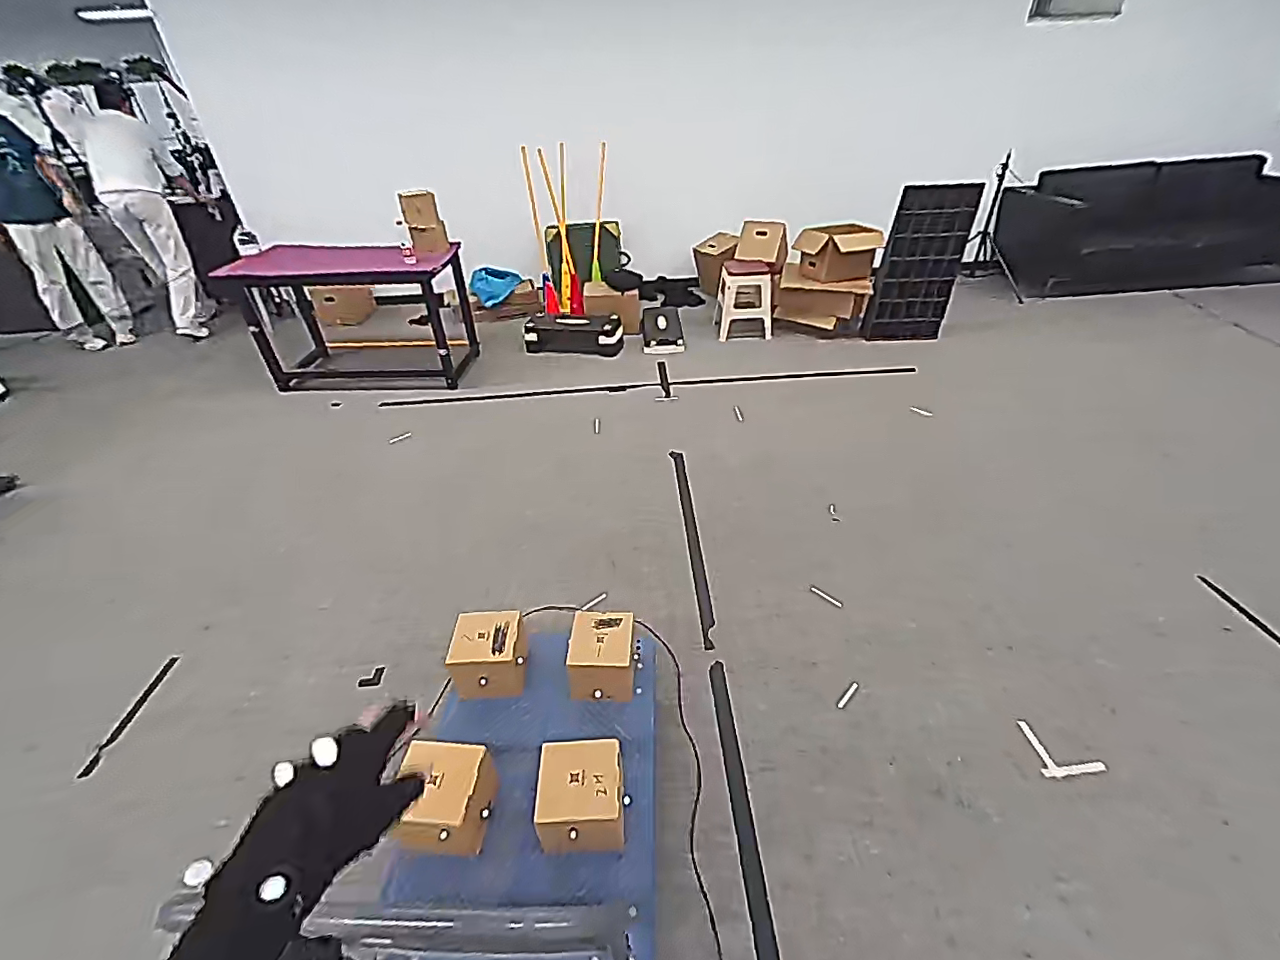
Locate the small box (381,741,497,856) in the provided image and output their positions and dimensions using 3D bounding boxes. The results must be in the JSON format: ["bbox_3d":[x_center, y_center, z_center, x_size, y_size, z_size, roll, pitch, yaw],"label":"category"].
[{"bbox_3d":[-0.436,0.709,1.205,0.179,0.176,0.168,3,36,4],"label":"small box"}]

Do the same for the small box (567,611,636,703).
[{"bbox_3d":[-0.099,0.487,1.490,0.168,0.176,0.179,1,37,4],"label":"small box"}]

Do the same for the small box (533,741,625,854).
[{"bbox_3d":[-0.127,0.703,1.196,0.179,0.176,0.168,-3,36,0],"label":"small box"}]
